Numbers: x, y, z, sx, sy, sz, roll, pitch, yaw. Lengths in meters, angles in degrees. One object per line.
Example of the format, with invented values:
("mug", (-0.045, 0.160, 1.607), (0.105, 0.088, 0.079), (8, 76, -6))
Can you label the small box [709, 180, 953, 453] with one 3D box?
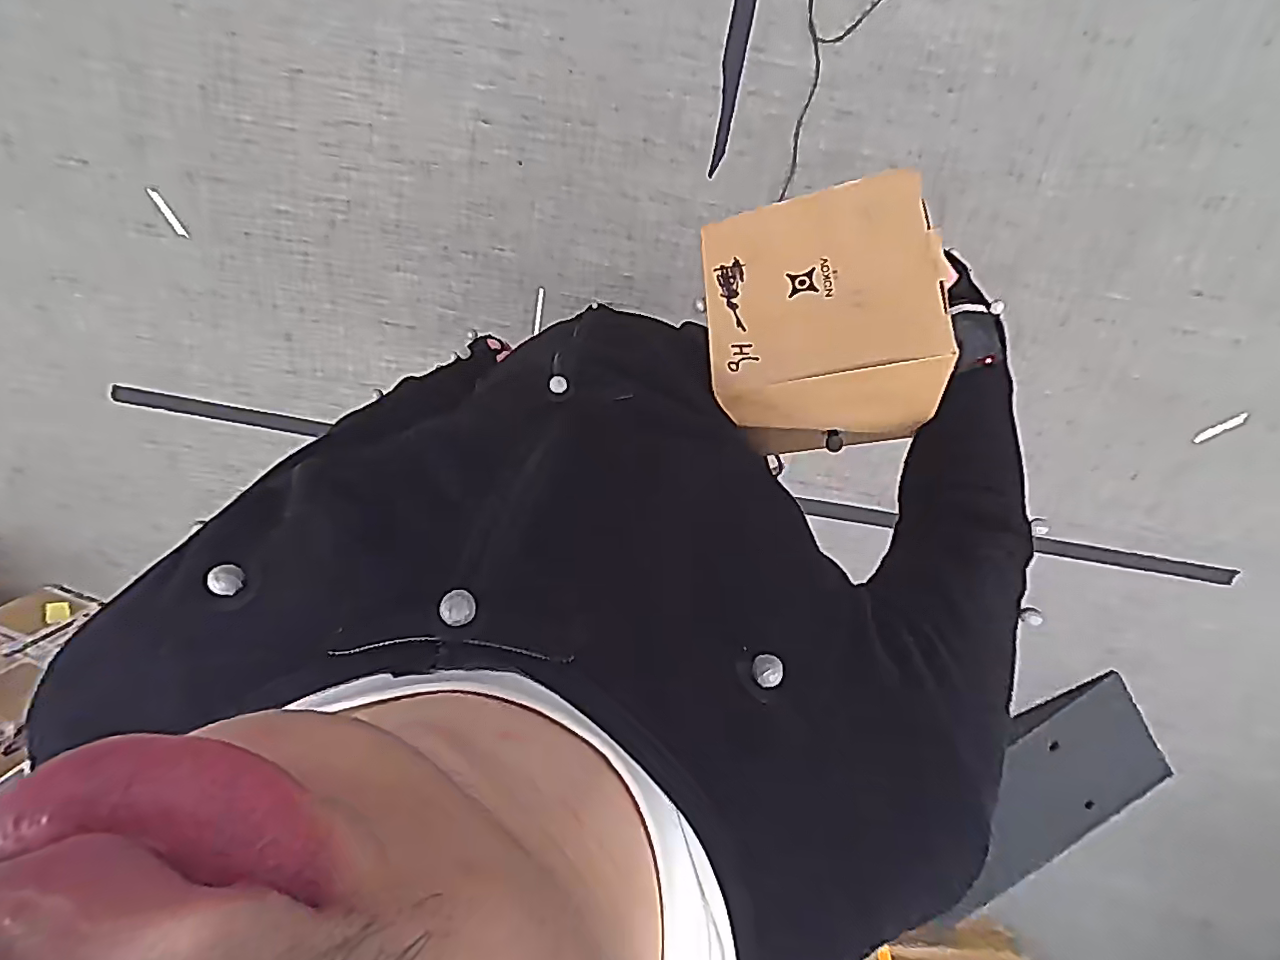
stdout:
("small box", (0.170, -0.136, 0.513), (0.179, 0.176, 0.168), (-7, 71, 18))
